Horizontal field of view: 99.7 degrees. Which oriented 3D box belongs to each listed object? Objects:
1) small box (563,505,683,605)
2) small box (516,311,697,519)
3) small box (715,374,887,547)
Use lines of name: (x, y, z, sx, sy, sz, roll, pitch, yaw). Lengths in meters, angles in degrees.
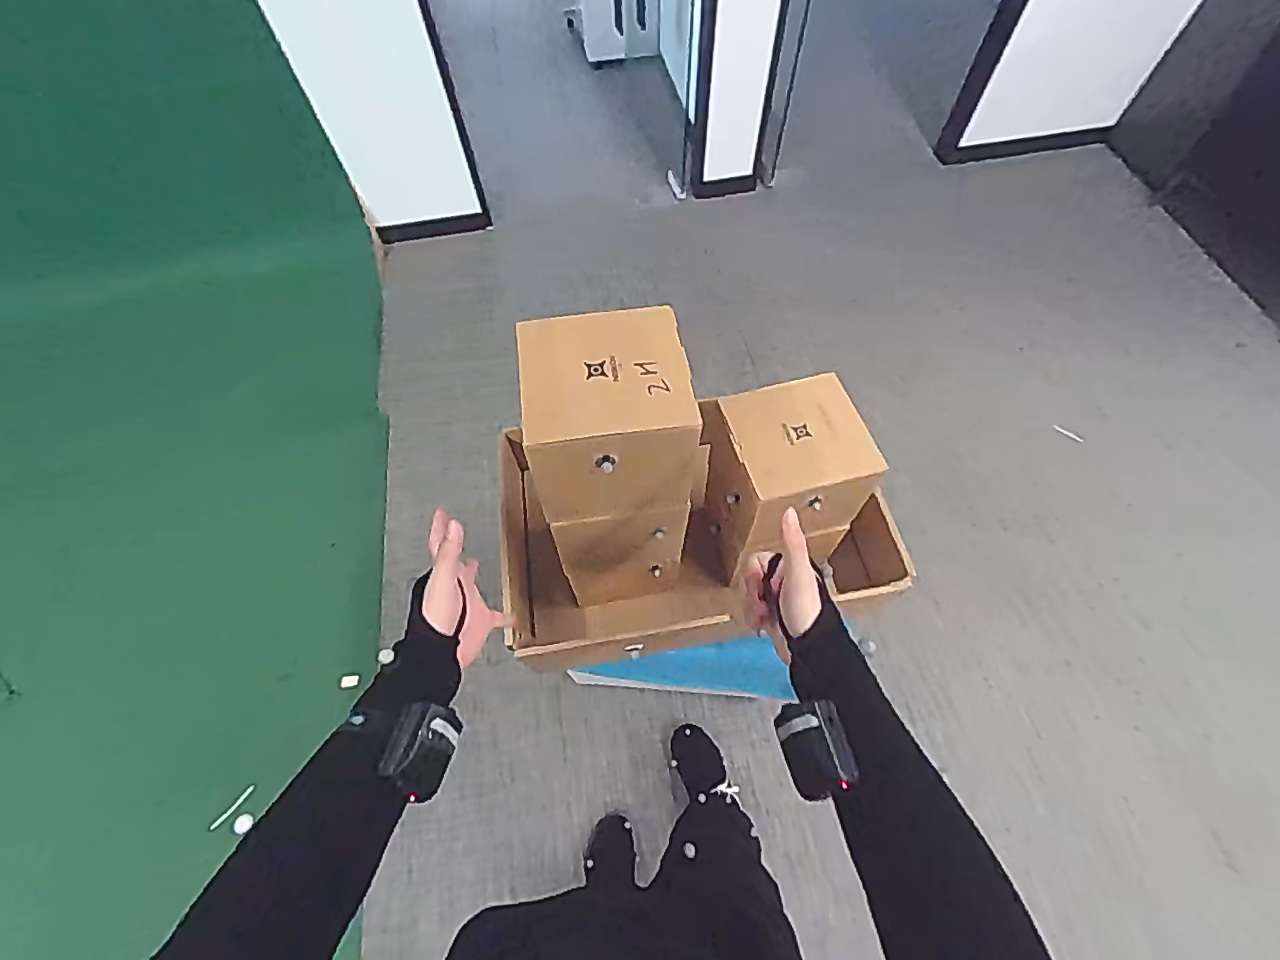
small box: (-0.031, 0.099, 0.909, 0.179, 0.176, 0.168, -9, 60, -5)
small box: (-0.038, -0.067, 0.625, 0.179, 0.176, 0.168, -8, 61, -4)
small box: (0.212, -0.021, 0.774, 0.179, 0.176, 0.168, -13, 61, -4)
